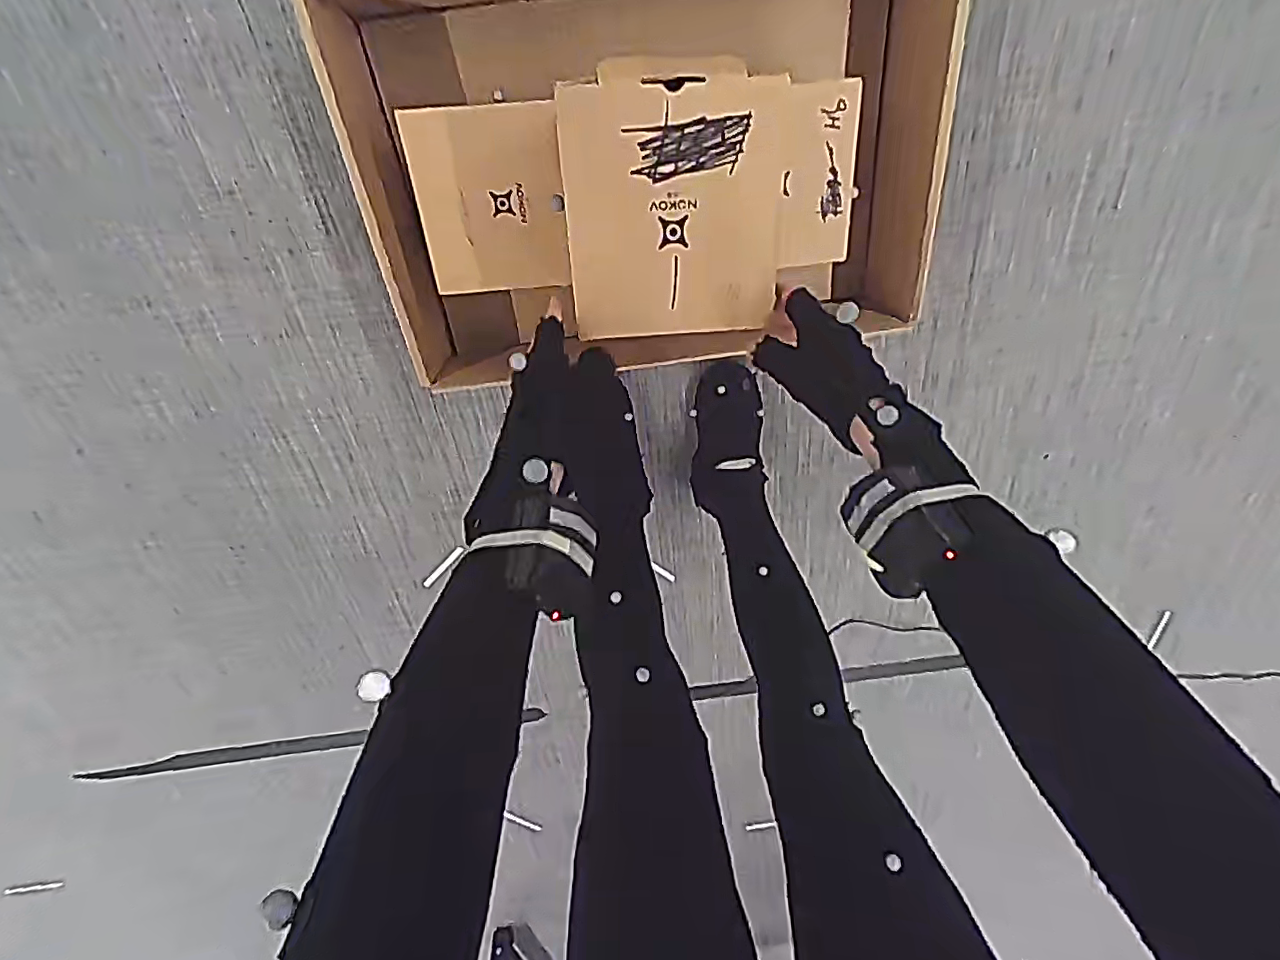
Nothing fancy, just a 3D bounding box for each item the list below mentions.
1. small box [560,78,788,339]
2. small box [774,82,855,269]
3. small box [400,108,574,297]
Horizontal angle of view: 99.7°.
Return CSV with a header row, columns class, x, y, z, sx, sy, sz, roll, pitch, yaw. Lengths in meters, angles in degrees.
class,x,y,z,sx,sy,sz,roll,pitch,yaw
small box,0.019,-0.238,0.483,0.168,0.176,0.179,-4,121,-3
small box,0.125,-0.342,0.626,0.179,0.176,0.168,-6,121,1
small box,-0.141,-0.315,0.613,0.179,0.176,0.168,-6,120,-2
